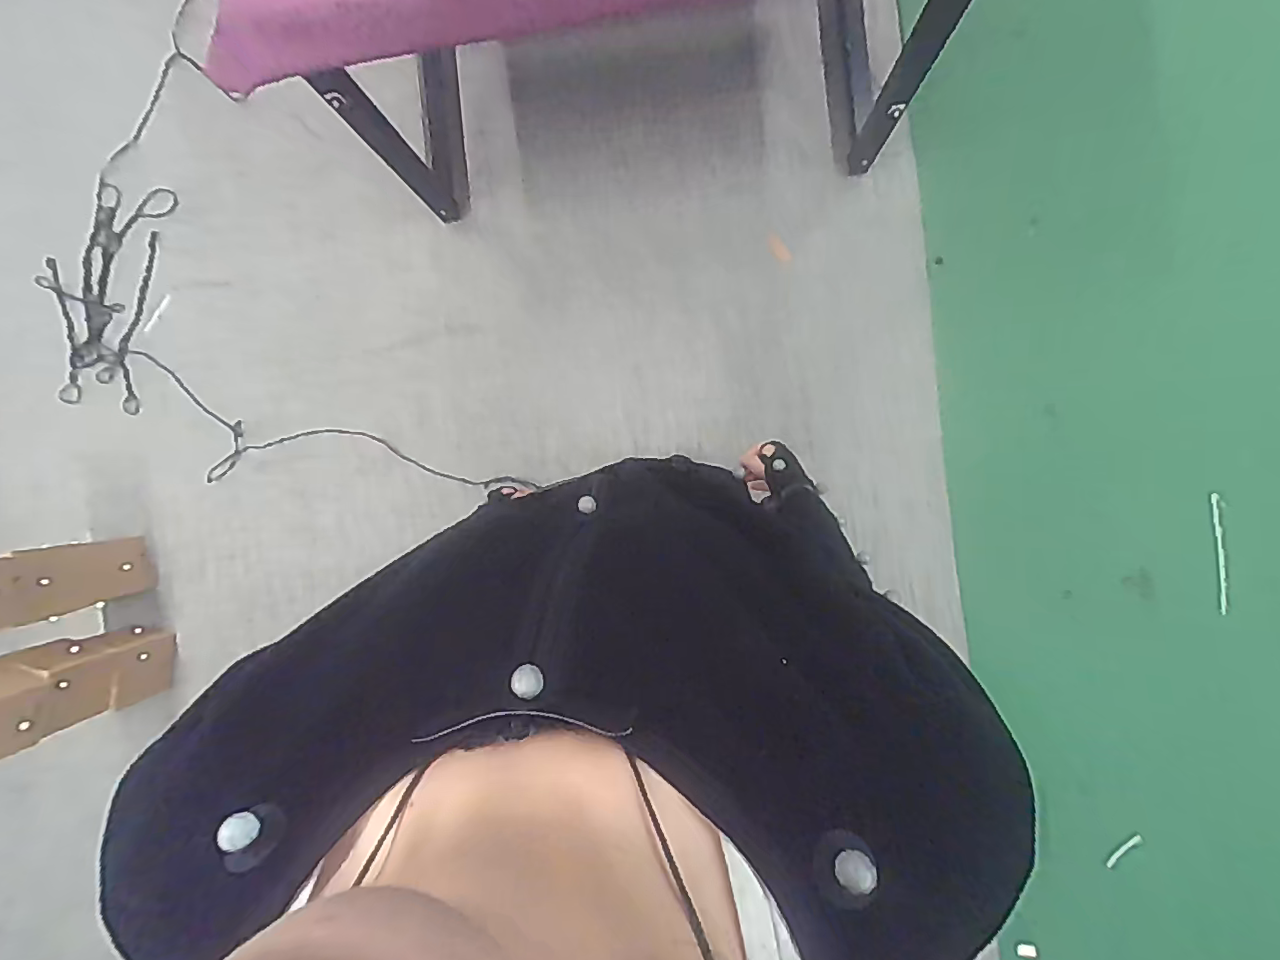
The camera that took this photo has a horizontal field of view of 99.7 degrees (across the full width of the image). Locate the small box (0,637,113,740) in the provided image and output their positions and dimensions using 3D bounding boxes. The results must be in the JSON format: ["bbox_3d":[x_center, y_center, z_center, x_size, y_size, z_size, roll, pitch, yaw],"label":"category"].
[{"bbox_3d":[-1.522,0.528,1.391,0.168,0.176,0.179,11,91,5],"label":"small box"}]

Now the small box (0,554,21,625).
[{"bbox_3d":[-1.572,0.271,1.222,0.179,0.176,0.168,-10,91,2],"label":"small box"}]

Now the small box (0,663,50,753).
[{"bbox_3d":[-1.526,0.533,1.226,0.179,0.176,0.168,16,92,4],"label":"small box"}]

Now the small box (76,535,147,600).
[{"bbox_3d":[-1.569,0.261,1.548,0.179,0.176,0.168,-13,90,5],"label":"small box"}]

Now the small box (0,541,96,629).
[{"bbox_3d":[-1.566,0.270,1.385,0.168,0.176,0.179,-18,91,3],"label":"small box"}]
